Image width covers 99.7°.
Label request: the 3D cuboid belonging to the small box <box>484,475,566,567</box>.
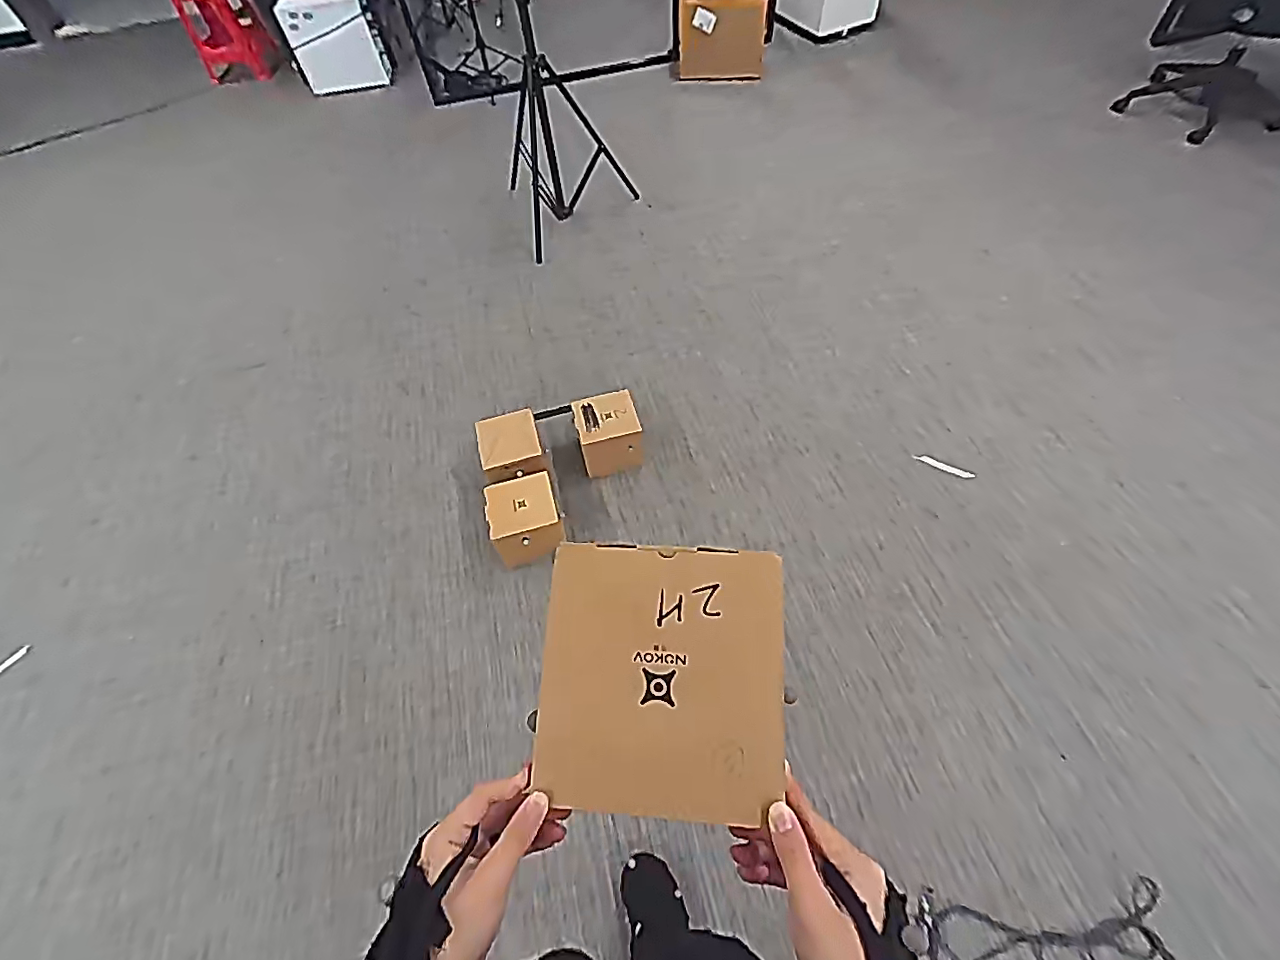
[{"bbox_3d":[-0.305,0.114,1.466,0.179,0.176,0.168,-15,58,-5],"label":"small box"}]

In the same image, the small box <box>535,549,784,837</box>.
[{"bbox_3d":[0.024,0.160,0.447,0.168,0.176,0.179,2,73,6],"label":"small box"}]
